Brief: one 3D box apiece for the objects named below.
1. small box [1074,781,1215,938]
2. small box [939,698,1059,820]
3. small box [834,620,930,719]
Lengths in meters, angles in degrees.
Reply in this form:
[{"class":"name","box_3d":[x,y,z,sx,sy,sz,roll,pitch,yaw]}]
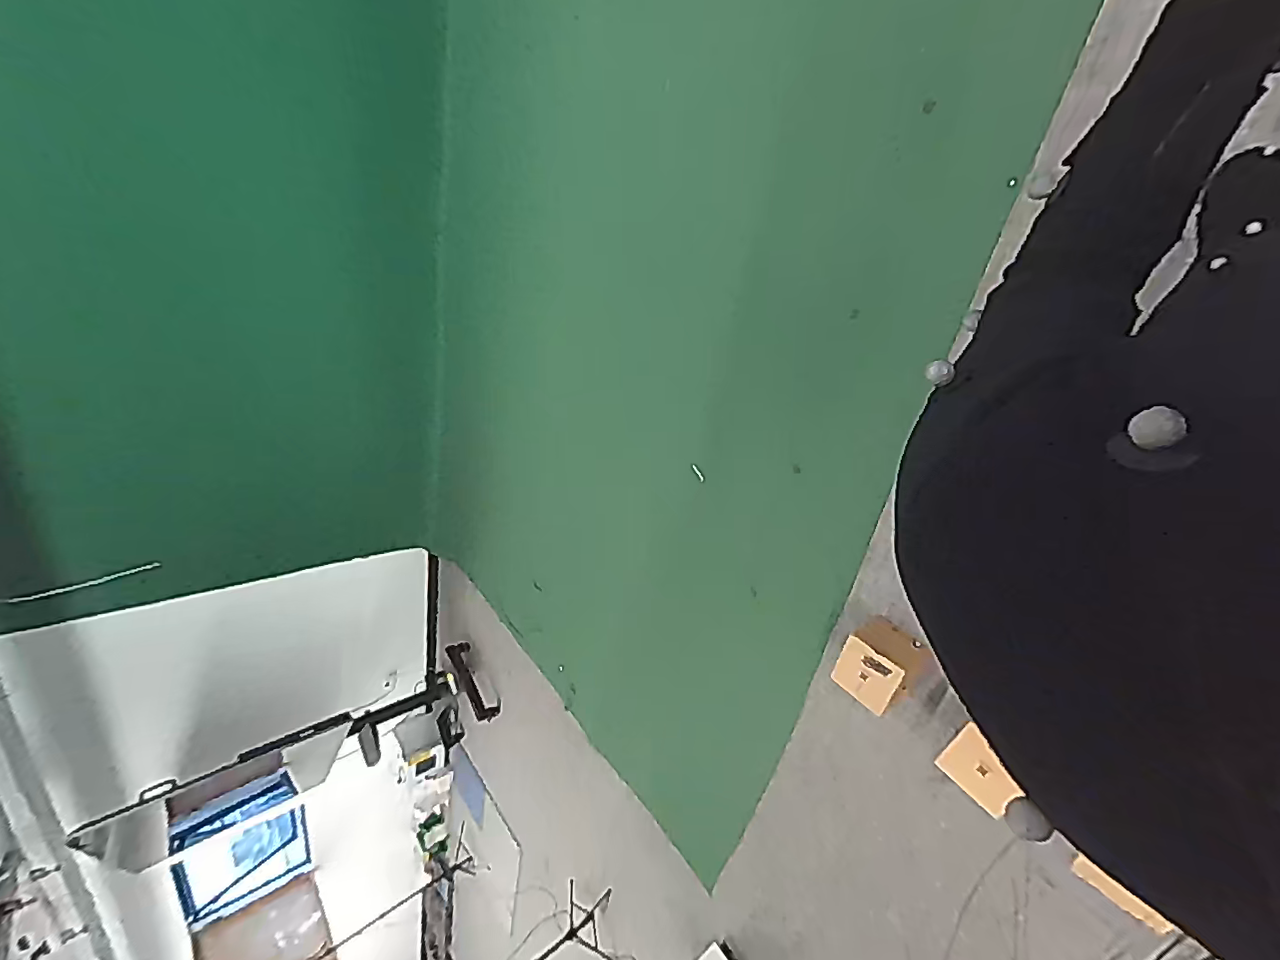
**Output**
[{"class":"small box","box_3d":[1.070,0.792,1.145,0.168,0.176,0.179,29,118,40]},{"class":"small box","box_3d":[0.888,0.681,1.335,0.168,0.176,0.179,41,126,37]},{"class":"small box","box_3d":[0.689,0.528,1.532,0.168,0.176,0.179,36,124,40]}]
